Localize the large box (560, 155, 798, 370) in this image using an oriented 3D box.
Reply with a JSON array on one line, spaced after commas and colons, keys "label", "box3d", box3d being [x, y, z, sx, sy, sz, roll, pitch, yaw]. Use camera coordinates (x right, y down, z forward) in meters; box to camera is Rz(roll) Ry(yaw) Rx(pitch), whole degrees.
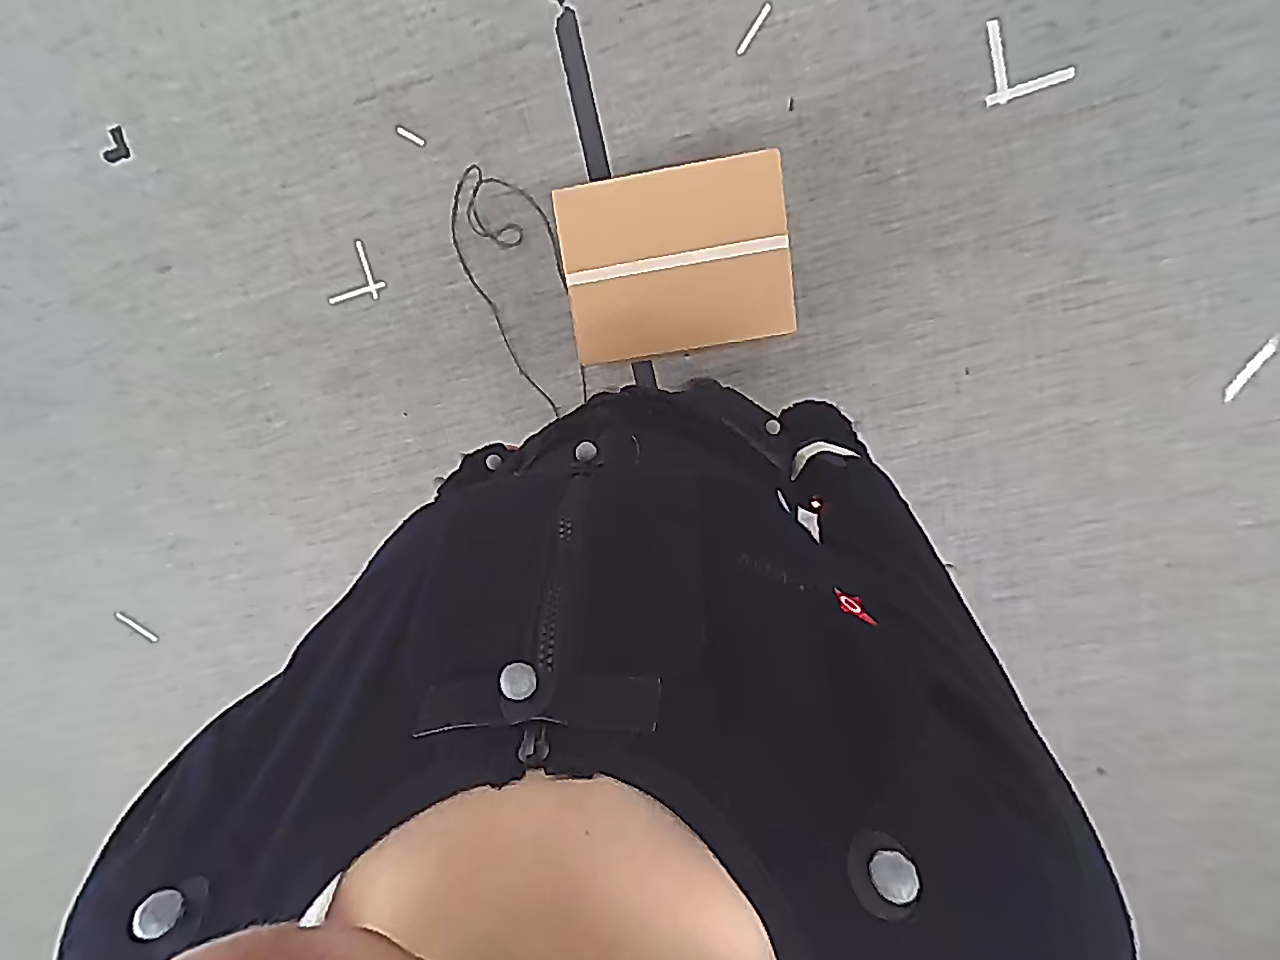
[{"label": "large box", "box3d": [0.081, -0.414, 1.125, 0.408, 0.320, 0.320, -7, 101, 6]}]
